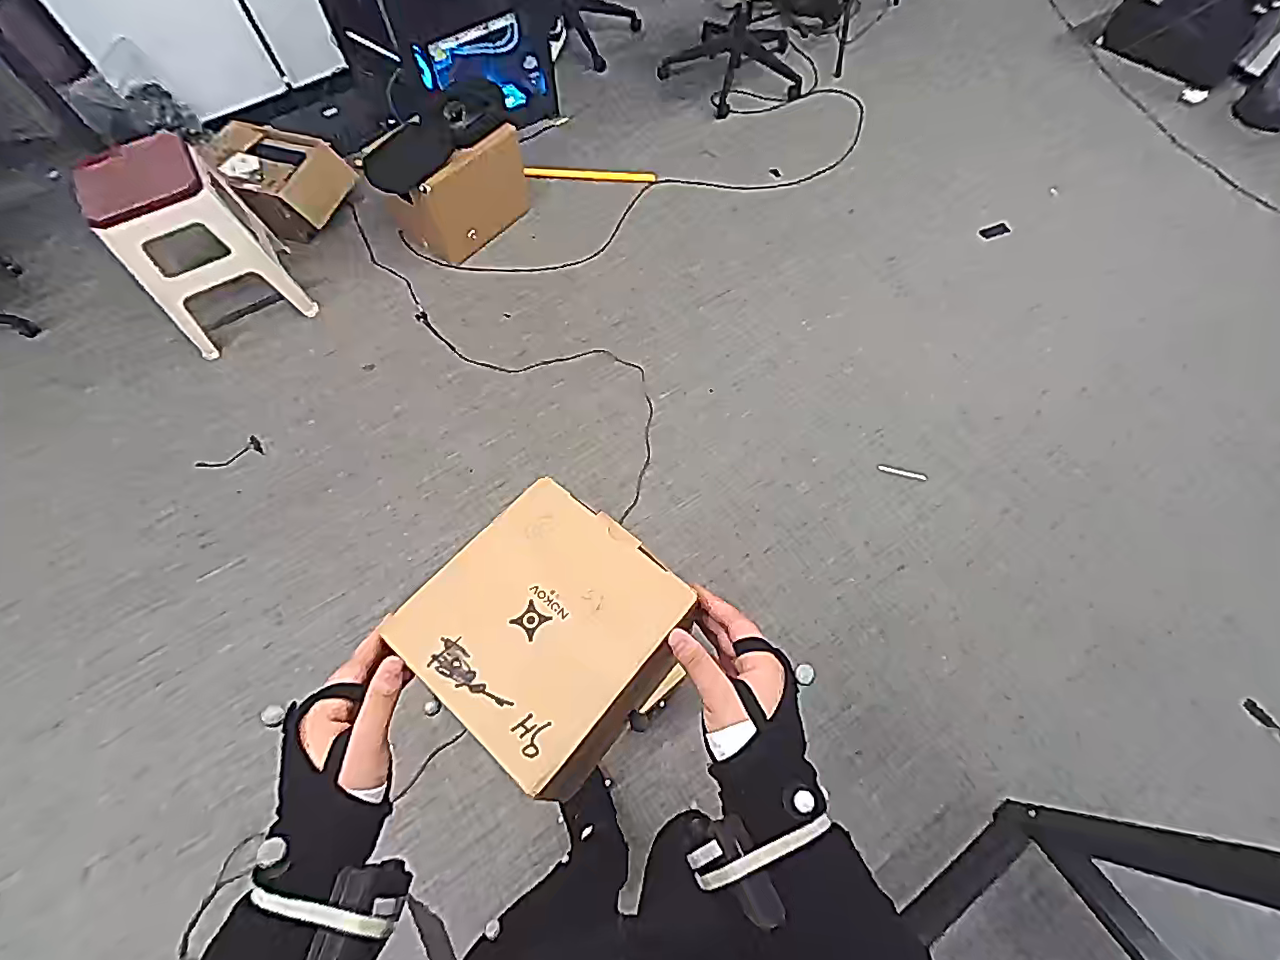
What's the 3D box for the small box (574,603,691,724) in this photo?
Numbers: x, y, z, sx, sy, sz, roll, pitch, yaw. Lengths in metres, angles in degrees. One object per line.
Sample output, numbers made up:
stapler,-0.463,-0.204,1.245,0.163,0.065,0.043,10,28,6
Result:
small box,-0.015,0.392,1.137,0.179,0.176,0.168,-37,71,-17
